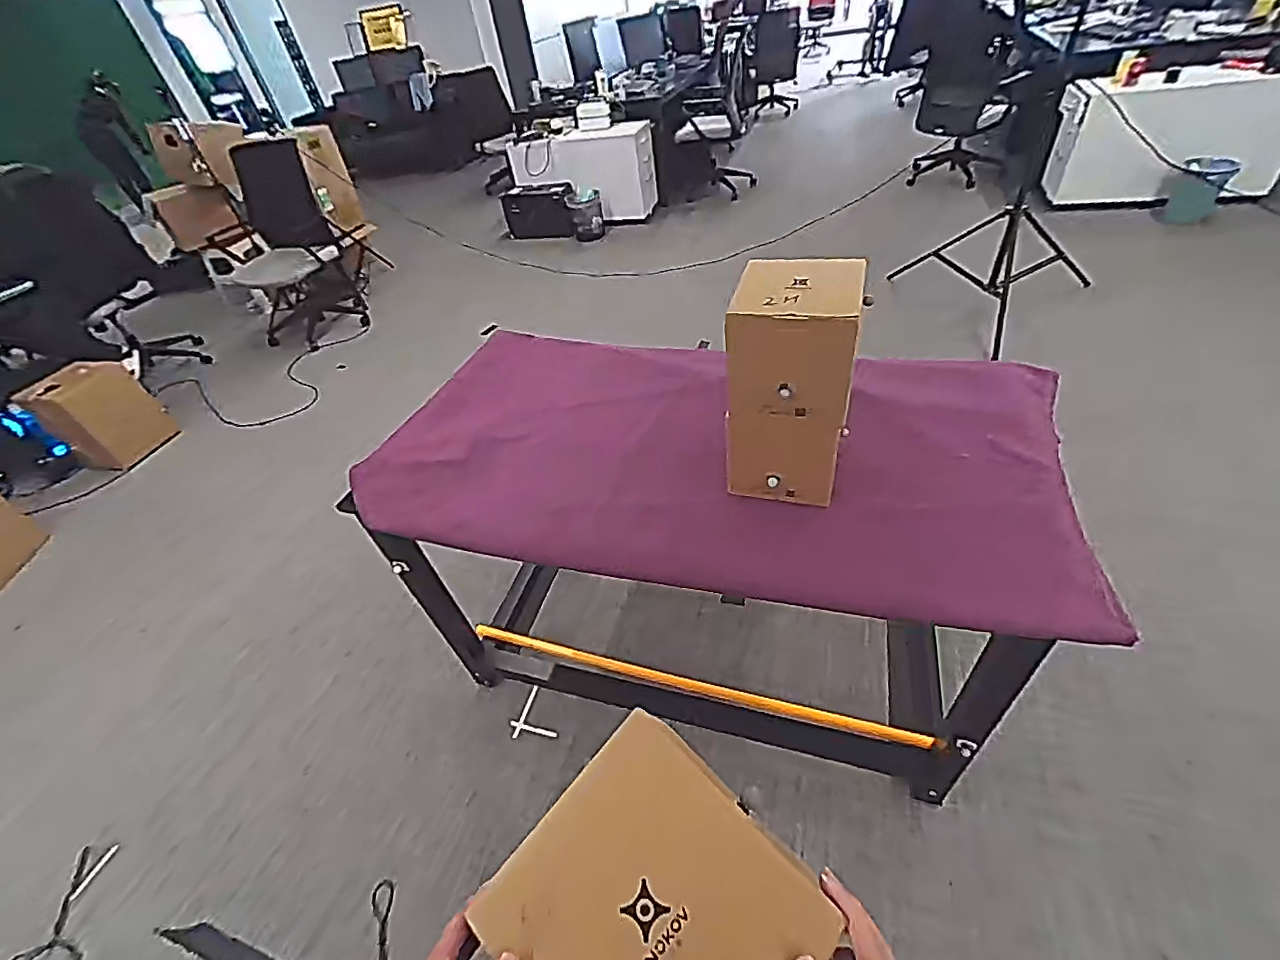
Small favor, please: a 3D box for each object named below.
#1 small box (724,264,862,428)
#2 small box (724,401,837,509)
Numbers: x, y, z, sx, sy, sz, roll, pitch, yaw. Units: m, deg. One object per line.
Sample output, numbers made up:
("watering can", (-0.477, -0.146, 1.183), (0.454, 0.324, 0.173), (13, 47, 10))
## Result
("small box", (0.222, -0.199, 0.790), (0.168, 0.176, 0.179), (7, 45, 19))
("small box", (0.239, -0.079, 0.903), (0.168, 0.176, 0.179), (8, 46, 19))
